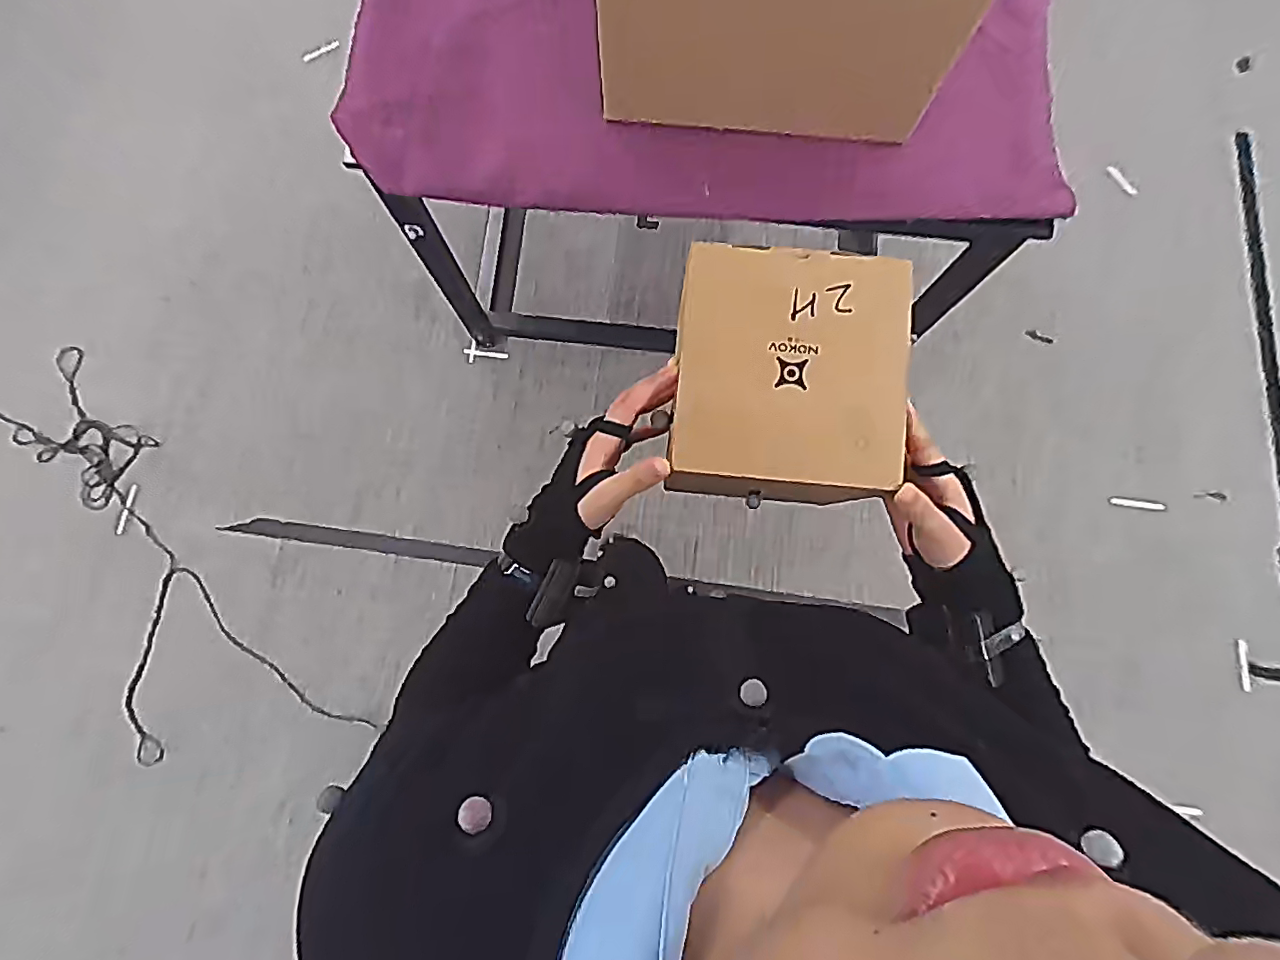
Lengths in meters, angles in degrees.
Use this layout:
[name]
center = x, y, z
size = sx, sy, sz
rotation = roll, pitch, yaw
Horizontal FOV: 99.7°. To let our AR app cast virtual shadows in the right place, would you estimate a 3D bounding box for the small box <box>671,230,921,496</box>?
[small box]
center = 0.116, -0.083, 0.465
size = 0.168, 0.176, 0.179
rotation = 5, 83, 1
